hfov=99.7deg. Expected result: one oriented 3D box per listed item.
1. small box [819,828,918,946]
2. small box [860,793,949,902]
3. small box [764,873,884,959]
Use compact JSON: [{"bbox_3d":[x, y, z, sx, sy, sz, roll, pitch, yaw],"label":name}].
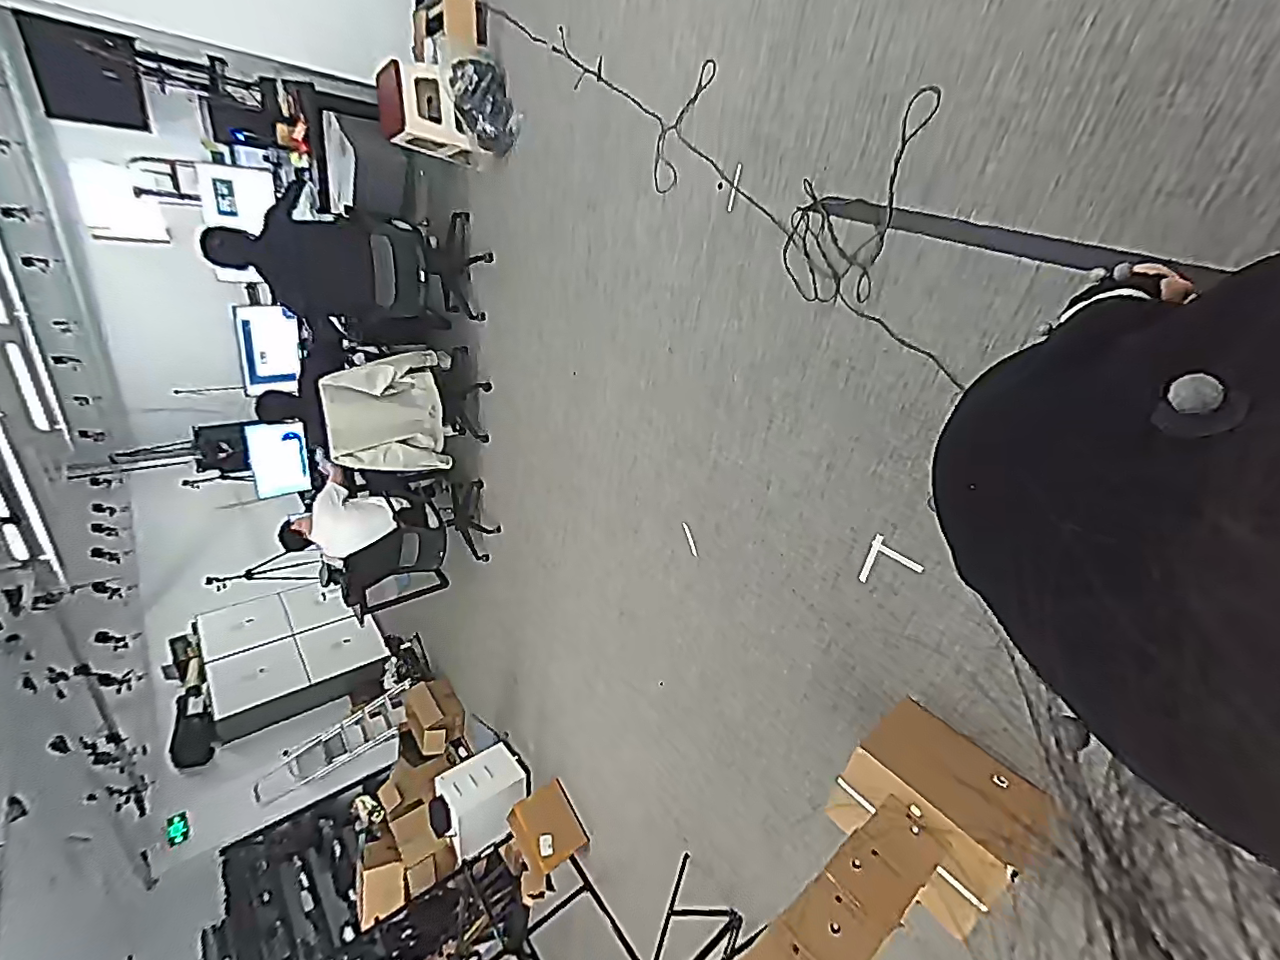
[{"bbox_3d":[0.519,0.970,1.264,0.168,0.176,0.179,33,126,42],"label":"small box"},{"bbox_3d":[0.644,0.946,1.365,0.168,0.176,0.179,34,125,40],"label":"small box"},{"bbox_3d":[0.396,1.006,1.161,0.168,0.176,0.179,29,122,44],"label":"small box"}]
